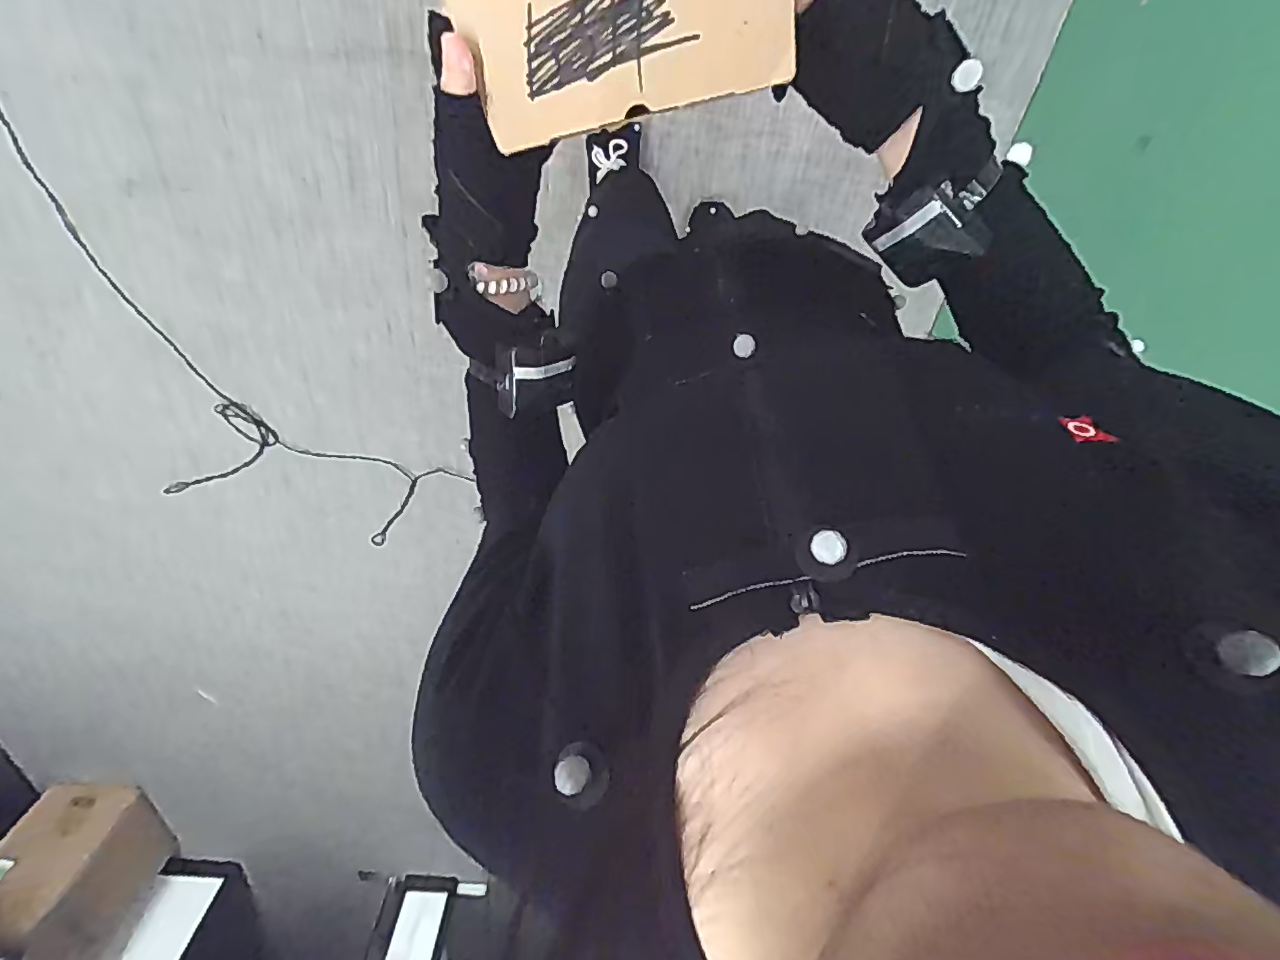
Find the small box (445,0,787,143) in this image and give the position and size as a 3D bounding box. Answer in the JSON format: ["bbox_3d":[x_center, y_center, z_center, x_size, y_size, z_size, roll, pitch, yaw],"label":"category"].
[{"bbox_3d":[-0.015,-0.316,0.289,0.168,0.176,0.179,-6,134,12],"label":"small box"}]
